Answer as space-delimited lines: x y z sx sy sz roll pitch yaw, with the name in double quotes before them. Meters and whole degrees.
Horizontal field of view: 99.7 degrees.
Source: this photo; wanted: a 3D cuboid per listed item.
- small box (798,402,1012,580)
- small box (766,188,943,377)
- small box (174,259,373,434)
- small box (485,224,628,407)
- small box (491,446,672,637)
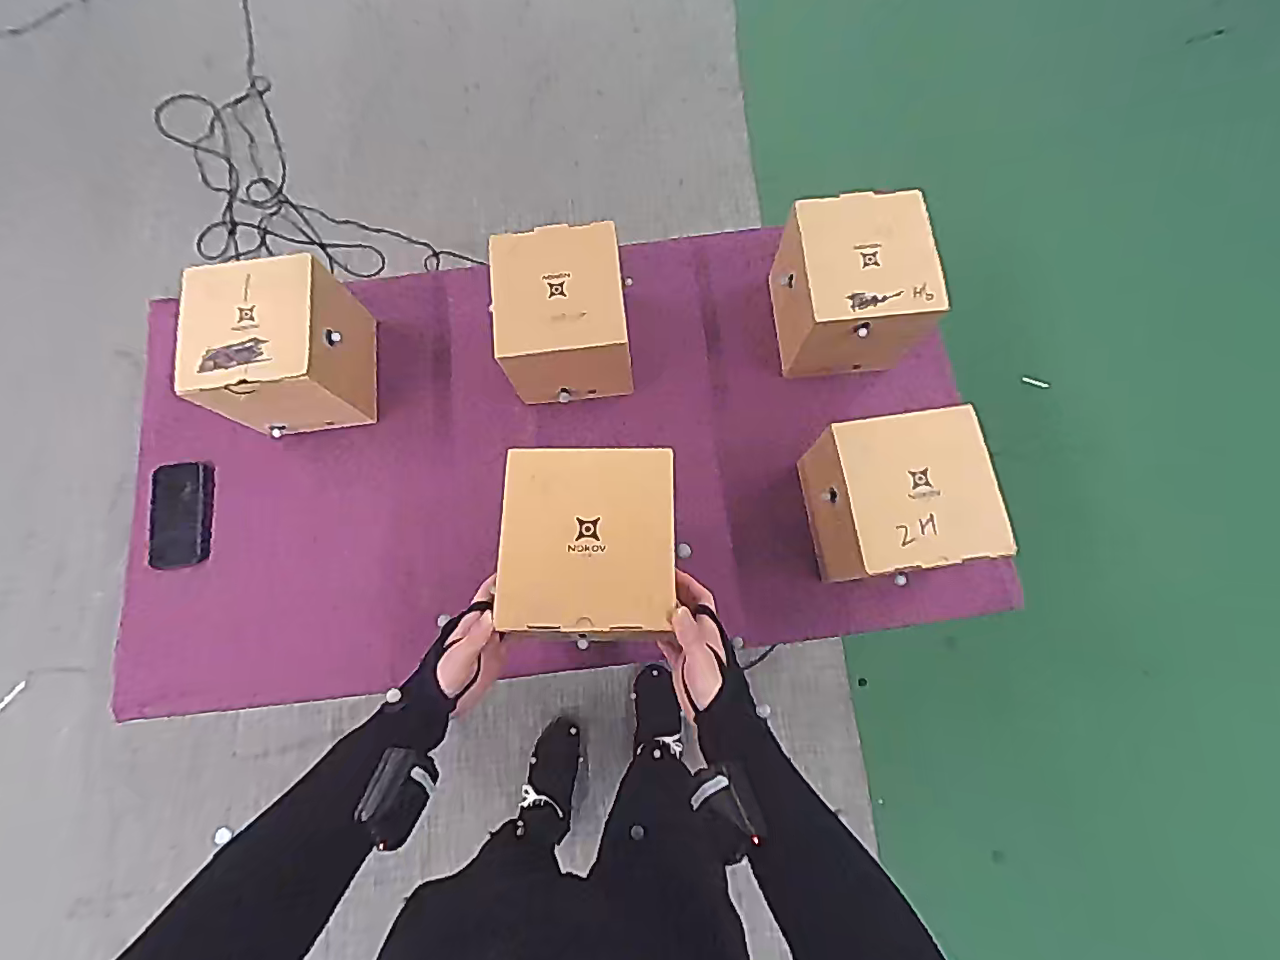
"small box" 0.308 0.023 0.673 0.168 0.176 0.179 -8 77 1
"small box" 0.279 -0.263 0.747 0.168 0.176 0.179 -6 76 1
"small box" -0.491 -0.171 0.751 0.168 0.176 0.179 -8 76 0
"small box" -0.109 -0.219 0.752 0.168 0.176 0.179 -7 77 1
"small box" -0.054 0.075 0.586 0.168 0.176 0.179 -1 72 0
